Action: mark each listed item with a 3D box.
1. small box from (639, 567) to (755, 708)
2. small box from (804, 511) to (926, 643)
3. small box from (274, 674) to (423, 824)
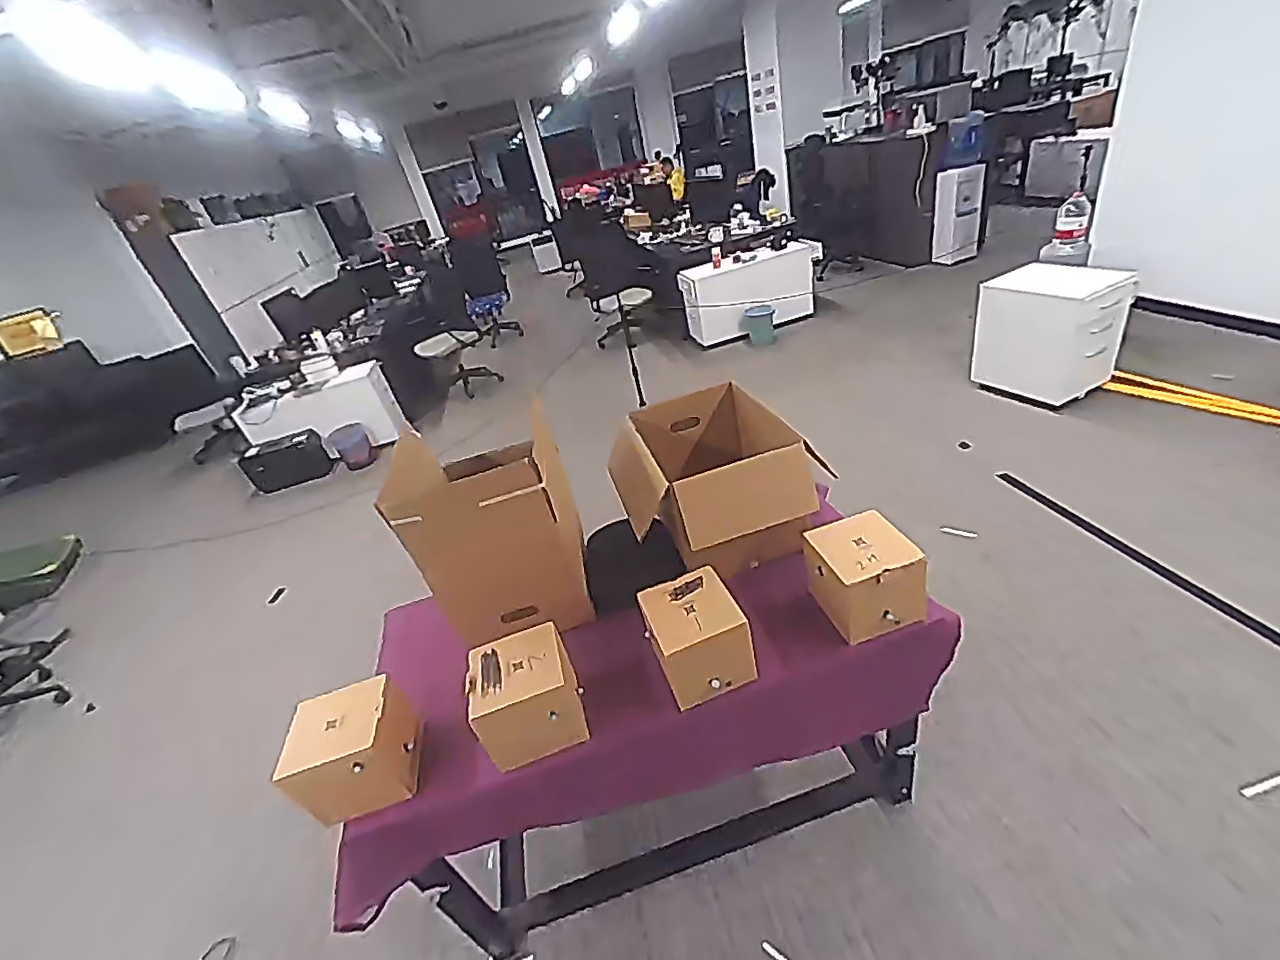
[{"bbox_3d":[0.112,0.310,1.073,0.168,0.176,0.179,-20,33,-8],"label":"small box"},{"bbox_3d":[0.453,0.196,1.104,0.168,0.176,0.179,-18,31,-3],"label":"small box"},{"bbox_3d":[-0.540,0.512,1.029,0.179,0.176,0.168,-17,31,-6],"label":"small box"}]
